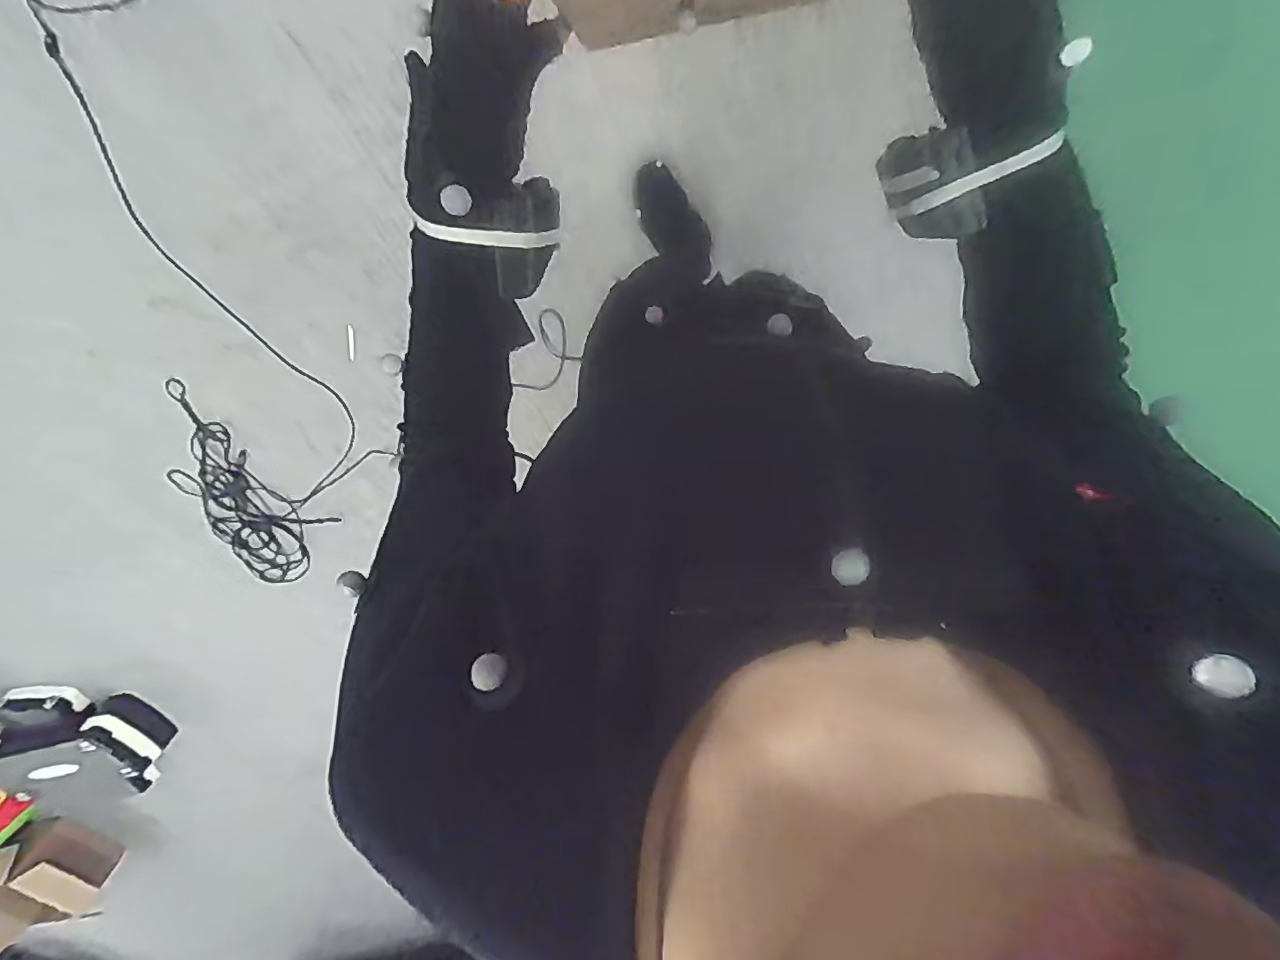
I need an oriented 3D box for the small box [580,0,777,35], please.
[{"bbox_3d":[0.027,-0.341,0.242,0.168,0.176,0.179,-7,120,7],"label":"small box"}]
